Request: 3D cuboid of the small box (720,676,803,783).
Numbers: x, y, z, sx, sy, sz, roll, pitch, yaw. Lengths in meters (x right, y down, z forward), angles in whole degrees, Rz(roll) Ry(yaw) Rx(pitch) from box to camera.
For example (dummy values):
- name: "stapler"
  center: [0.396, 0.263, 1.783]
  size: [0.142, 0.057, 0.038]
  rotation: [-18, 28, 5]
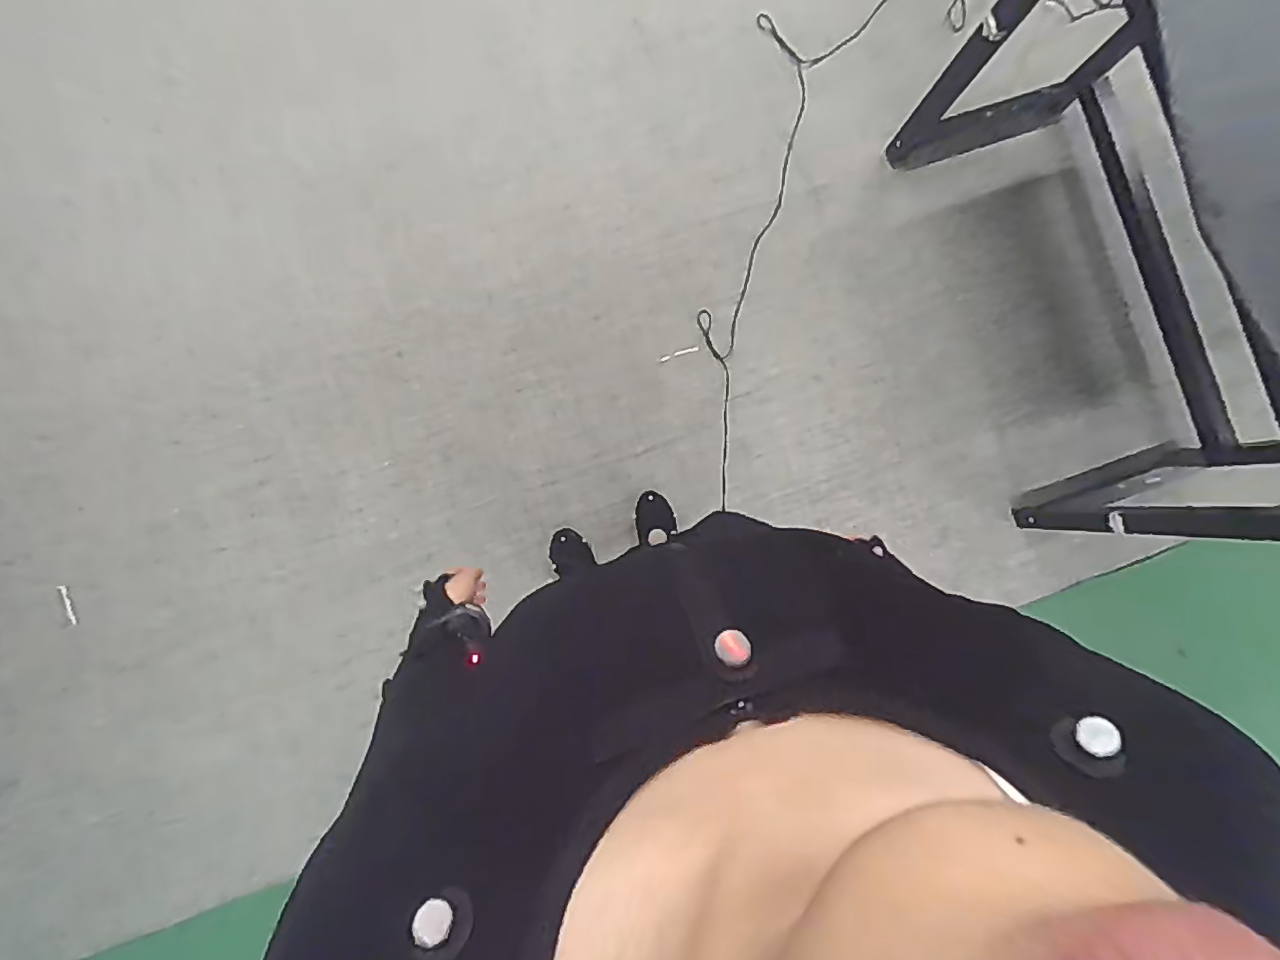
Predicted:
- name: "small box"
  center: [0.317, 0.612, 1.350]
  size: [0.179, 0.176, 0.168]
  rotation: [-16, 87, -4]
